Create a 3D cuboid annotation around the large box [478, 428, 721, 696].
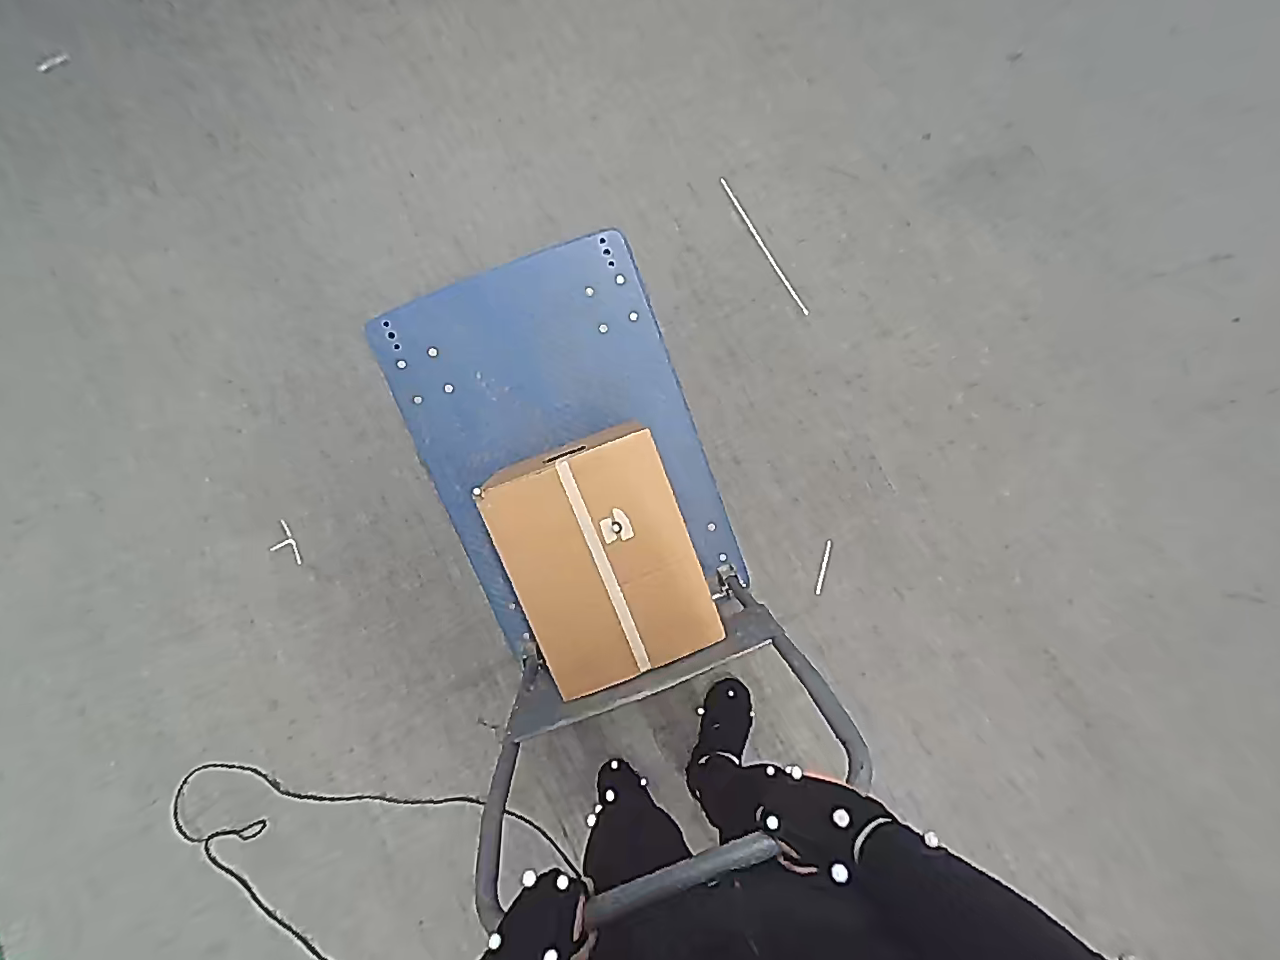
[{"bbox_3d":[-0.071,0.139,1.096,0.320,0.320,0.408,-21,99,-1],"label":"large box"}]
